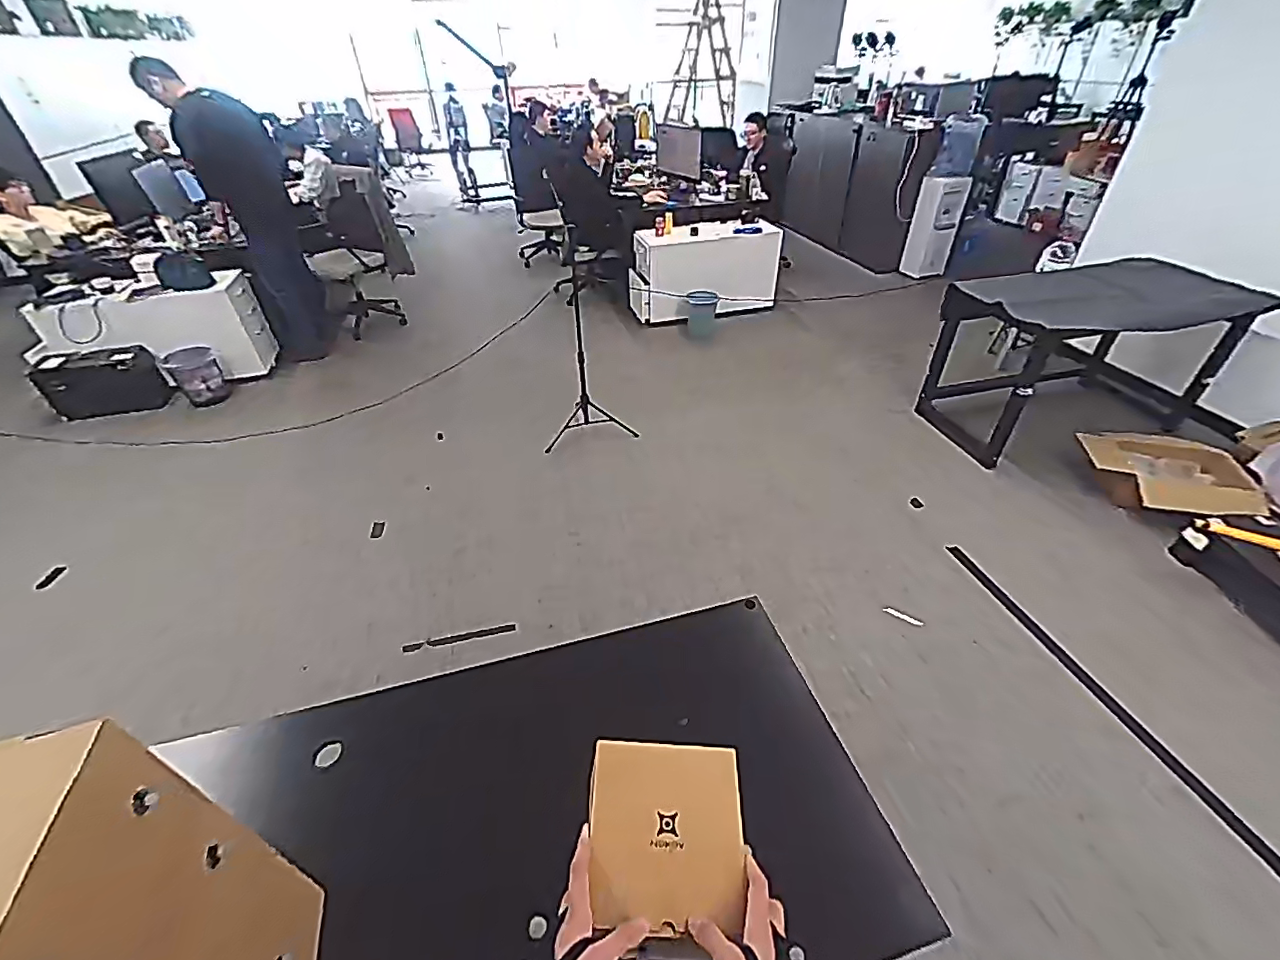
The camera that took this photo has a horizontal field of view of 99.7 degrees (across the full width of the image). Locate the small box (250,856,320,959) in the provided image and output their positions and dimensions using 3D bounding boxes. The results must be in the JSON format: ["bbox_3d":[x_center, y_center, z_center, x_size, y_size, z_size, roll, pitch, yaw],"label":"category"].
[{"bbox_3d":[-0.504,0.592,0.637,0.168,0.176,0.179,-12,40,-13],"label":"small box"}]

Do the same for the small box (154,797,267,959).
[{"bbox_3d":[-0.507,0.461,0.536,0.168,0.176,0.179,-12,40,-12],"label":"small box"}]

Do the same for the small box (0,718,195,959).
[{"bbox_3d":[-0.509,0.334,0.435,0.168,0.176,0.179,-13,40,-12],"label":"small box"}]

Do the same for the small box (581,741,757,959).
[{"bbox_3d":[0.024,0.425,0.617,0.168,0.176,0.179,5,44,-2],"label":"small box"}]
